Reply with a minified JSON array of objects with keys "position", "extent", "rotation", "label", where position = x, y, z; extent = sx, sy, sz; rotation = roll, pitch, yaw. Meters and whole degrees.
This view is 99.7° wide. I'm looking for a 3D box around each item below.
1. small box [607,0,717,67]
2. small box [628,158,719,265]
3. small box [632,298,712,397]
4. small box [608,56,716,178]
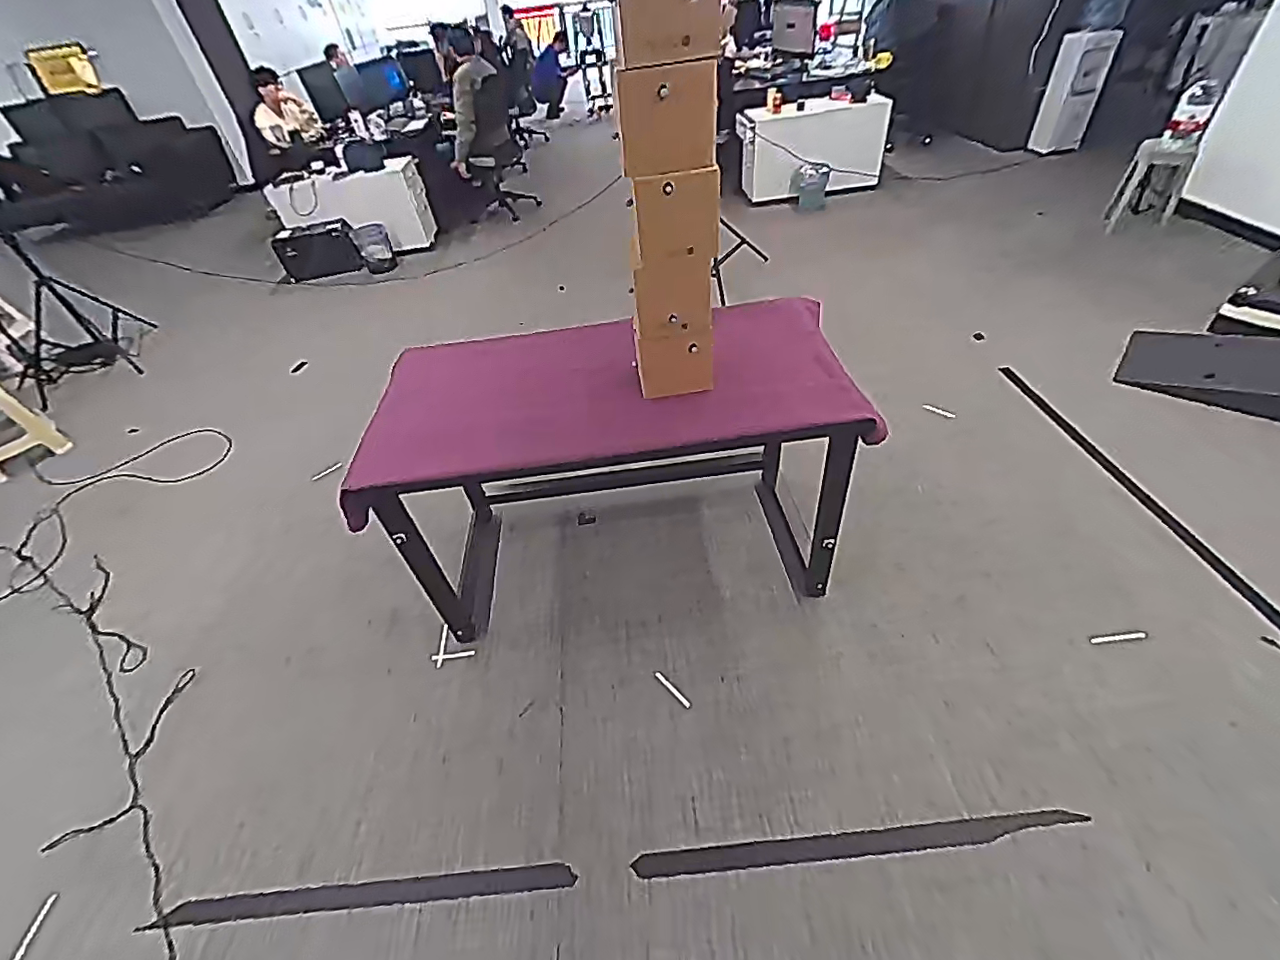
[{"position":[0.033,-0.812,0.910],"extent":[0.168,0.176,0.179],"rotation":[-9,43,-3],"label":"small box"},{"position":[0.066,-0.567,1.122],"extent":[0.168,0.176,0.179],"rotation":[-9,43,0],"label":"small box"},{"position":[0.080,-0.328,1.346],"extent":[0.179,0.176,0.168],"rotation":[-9,43,0],"label":"small box"},{"position":[0.041,-0.691,1.019],"extent":[0.179,0.176,0.168],"rotation":[-9,44,-1],"label":"small box"}]
